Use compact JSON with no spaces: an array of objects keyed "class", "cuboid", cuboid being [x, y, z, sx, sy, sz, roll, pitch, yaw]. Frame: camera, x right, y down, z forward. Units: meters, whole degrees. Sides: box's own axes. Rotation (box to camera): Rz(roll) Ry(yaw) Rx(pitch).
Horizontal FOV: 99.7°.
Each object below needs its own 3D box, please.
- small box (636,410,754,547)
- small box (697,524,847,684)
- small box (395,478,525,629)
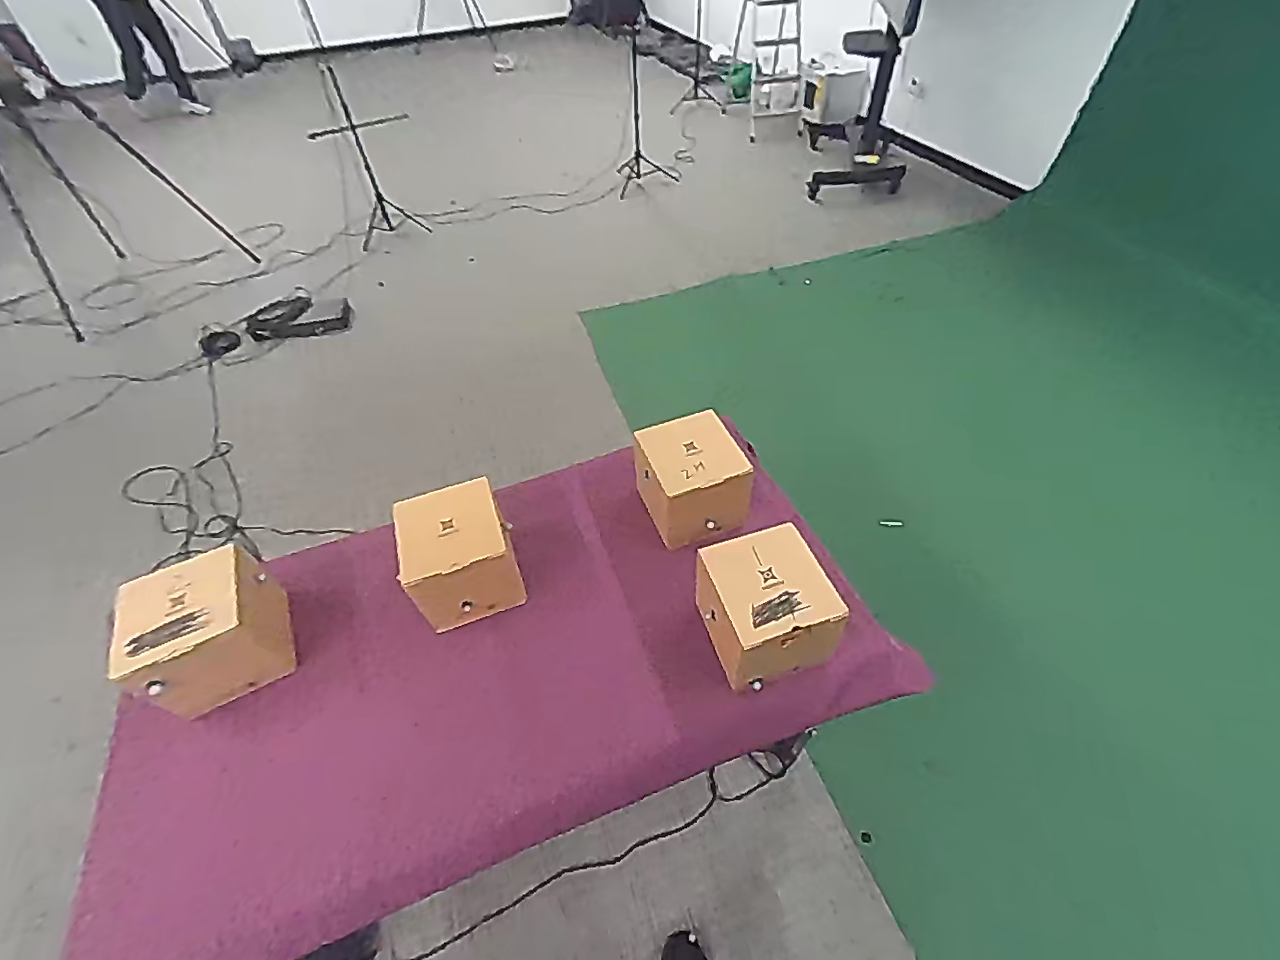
[{"class":"small box","cuboid":[0.098,-0.001,1.041,0.168,0.176,0.179,-18,52,-11]},{"class":"small box","cuboid":[0.197,0.204,0.860,0.168,0.176,0.179,-15,49,-9]},{"class":"small box","cuboid":[-0.313,0.130,0.951,0.168,0.176,0.179,-18,52,-13]}]
